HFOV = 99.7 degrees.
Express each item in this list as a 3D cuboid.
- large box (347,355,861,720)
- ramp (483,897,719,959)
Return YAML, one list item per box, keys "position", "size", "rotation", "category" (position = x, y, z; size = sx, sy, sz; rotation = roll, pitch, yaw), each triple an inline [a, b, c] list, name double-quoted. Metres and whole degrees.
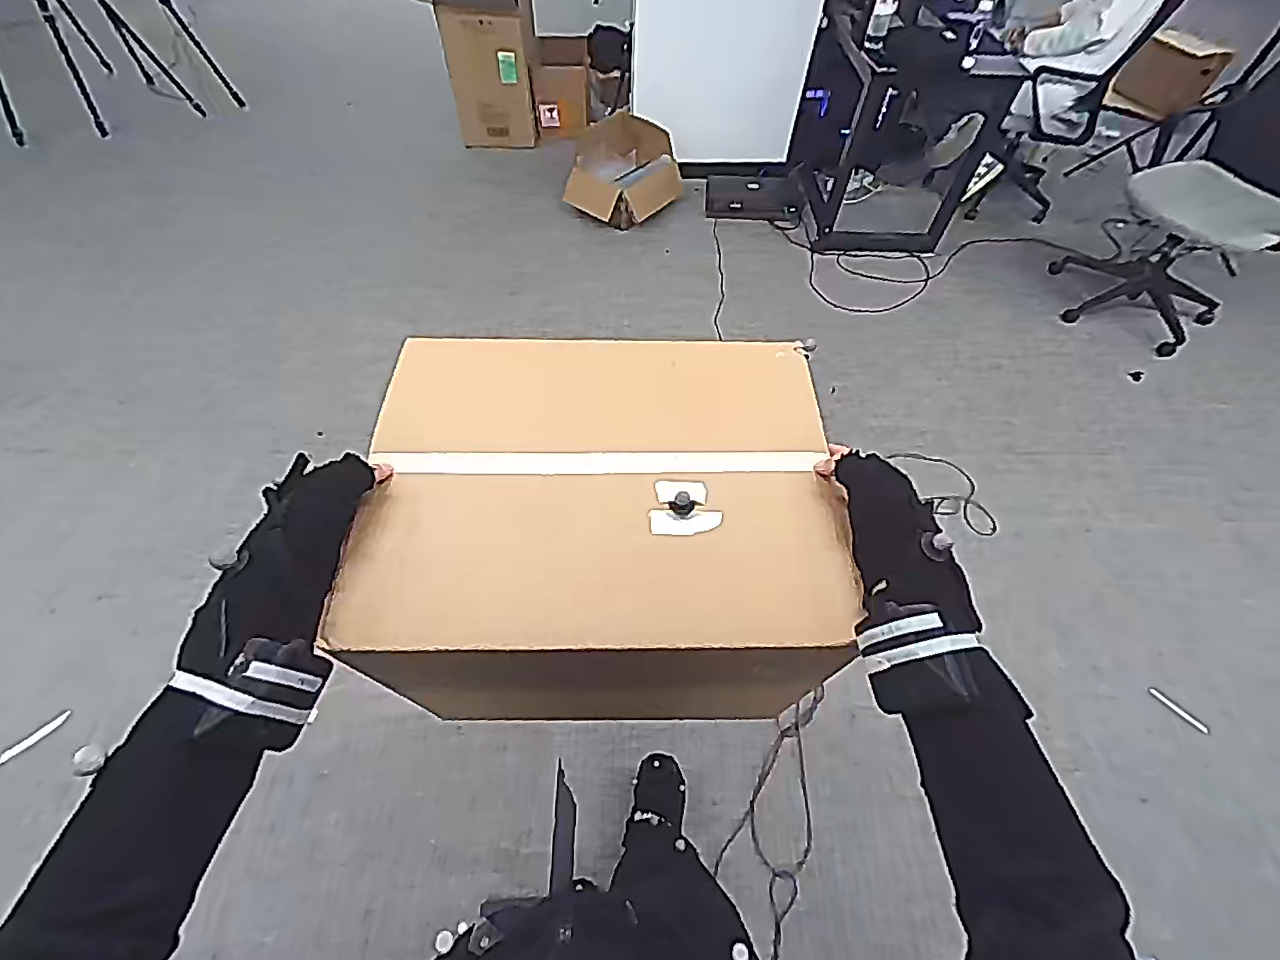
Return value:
- position: [-0.033, 0.077, 0.616]
  size: [0.408, 0.320, 0.320]
  rotation: [0, 57, -2]
  category: "large box"
- position: [-0.072, 1.272, 0.830]
  size: [0.509, 0.206, 0.991]
  rotation: [-3, 55, -1]
  category: "ramp"
